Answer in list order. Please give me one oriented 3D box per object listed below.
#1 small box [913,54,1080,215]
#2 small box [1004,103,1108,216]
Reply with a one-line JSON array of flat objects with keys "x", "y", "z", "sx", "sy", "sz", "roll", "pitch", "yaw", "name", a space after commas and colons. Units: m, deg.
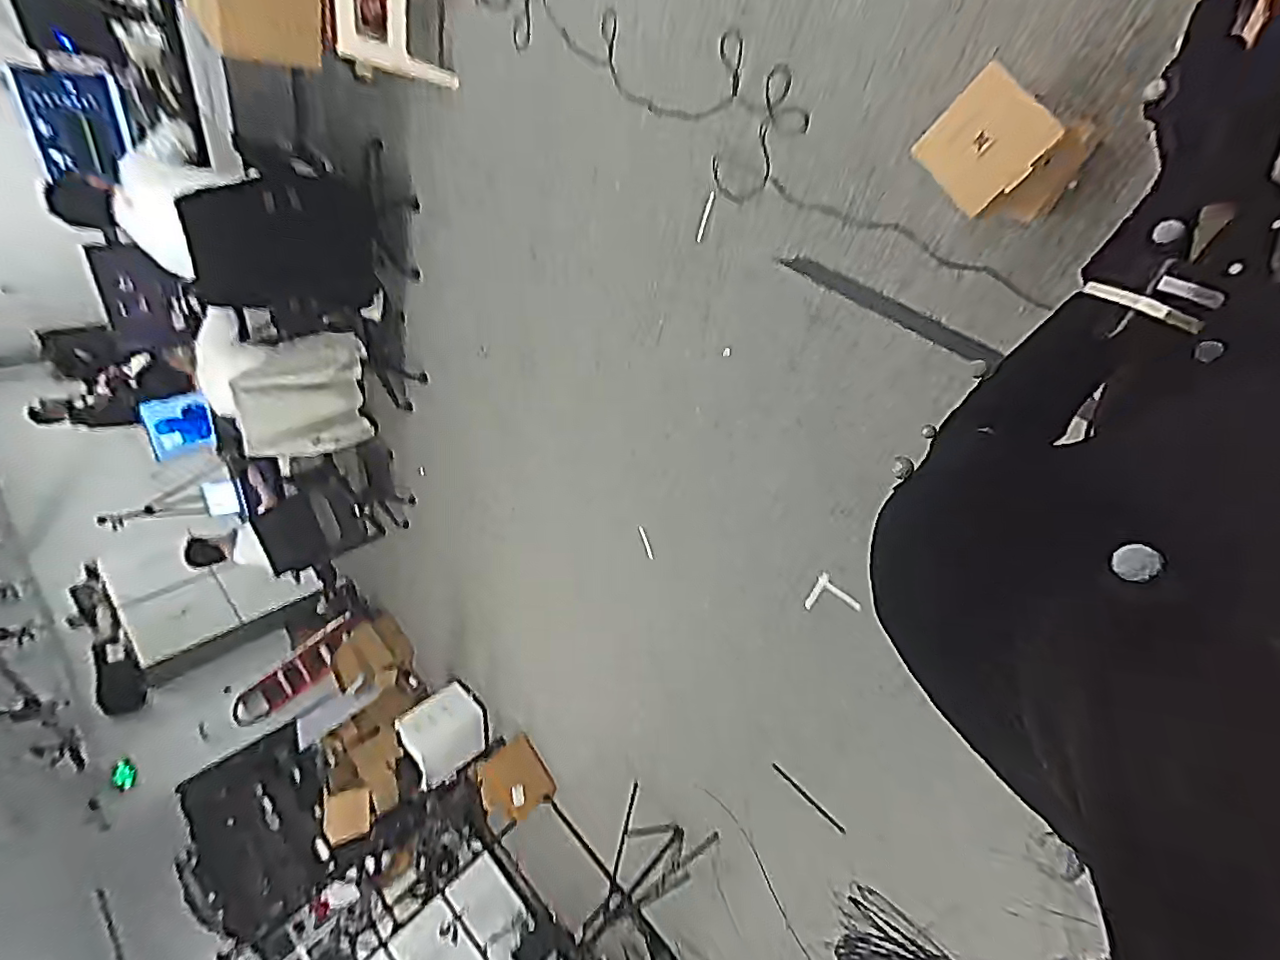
[{"x": 0.634, "y": -0.602, "z": 0.959, "sx": 0.179, "sy": 0.176, "sz": 0.168, "roll": 55, "pitch": 137, "yaw": 11, "name": "small box"}, {"x": 0.761, "y": -0.633, "z": 1.058, "sx": 0.179, "sy": 0.176, "sz": 0.168, "roll": 41, "pitch": 134, "yaw": 24, "name": "small box"}]
